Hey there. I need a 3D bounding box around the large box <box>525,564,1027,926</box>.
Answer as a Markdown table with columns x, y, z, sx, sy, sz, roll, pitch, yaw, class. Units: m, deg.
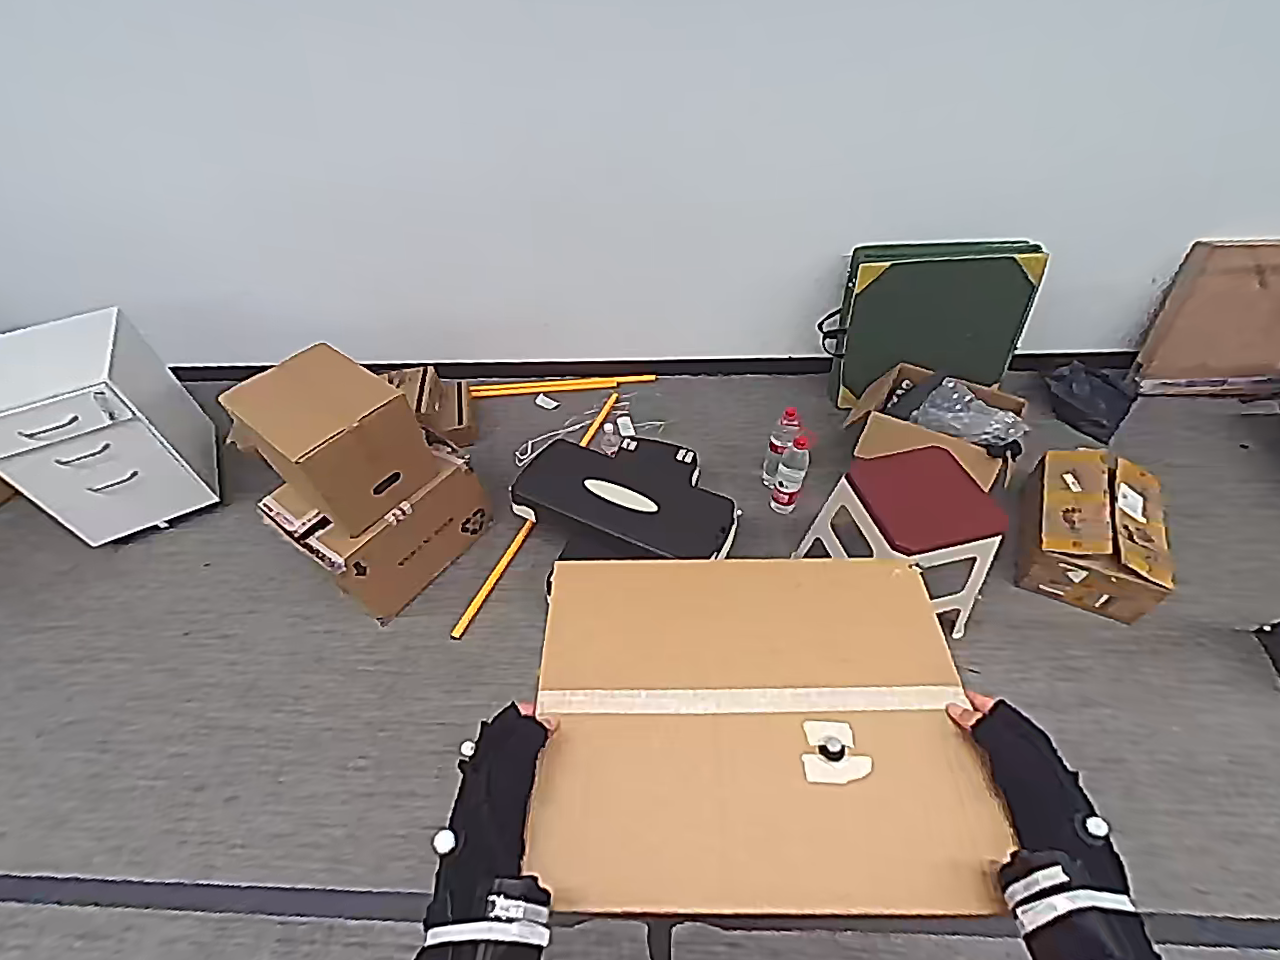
| x | y | z | sx | sy | sz | roll | pitch | yaw | class |
| --- | --- | --- | --- | --- | --- | --- | --- | --- | --- |
| 0.107 | 0.313 | 0.631 | 0.408 | 0.320 | 0.320 | -1 | 50 | 1 | large box |
